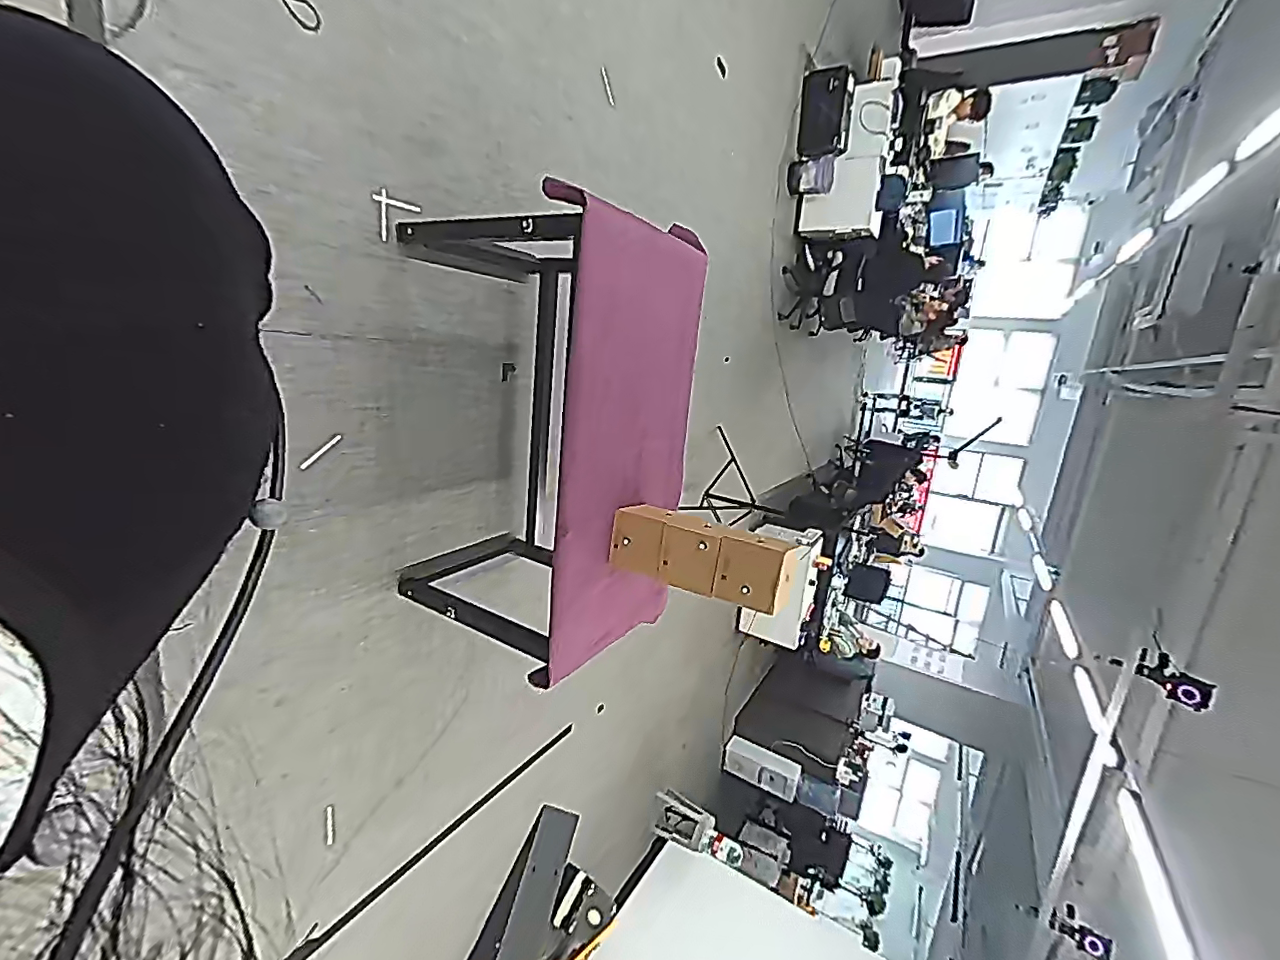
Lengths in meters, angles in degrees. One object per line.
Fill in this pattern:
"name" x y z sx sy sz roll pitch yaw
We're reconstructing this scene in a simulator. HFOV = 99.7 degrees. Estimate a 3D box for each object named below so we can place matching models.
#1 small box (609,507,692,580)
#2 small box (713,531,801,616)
"small box" 0.032 0.178 1.592 0.179 0.176 0.168 -5 105 -59
"small box" 0.307 0.239 1.425 0.179 0.176 0.168 -2 104 -61
